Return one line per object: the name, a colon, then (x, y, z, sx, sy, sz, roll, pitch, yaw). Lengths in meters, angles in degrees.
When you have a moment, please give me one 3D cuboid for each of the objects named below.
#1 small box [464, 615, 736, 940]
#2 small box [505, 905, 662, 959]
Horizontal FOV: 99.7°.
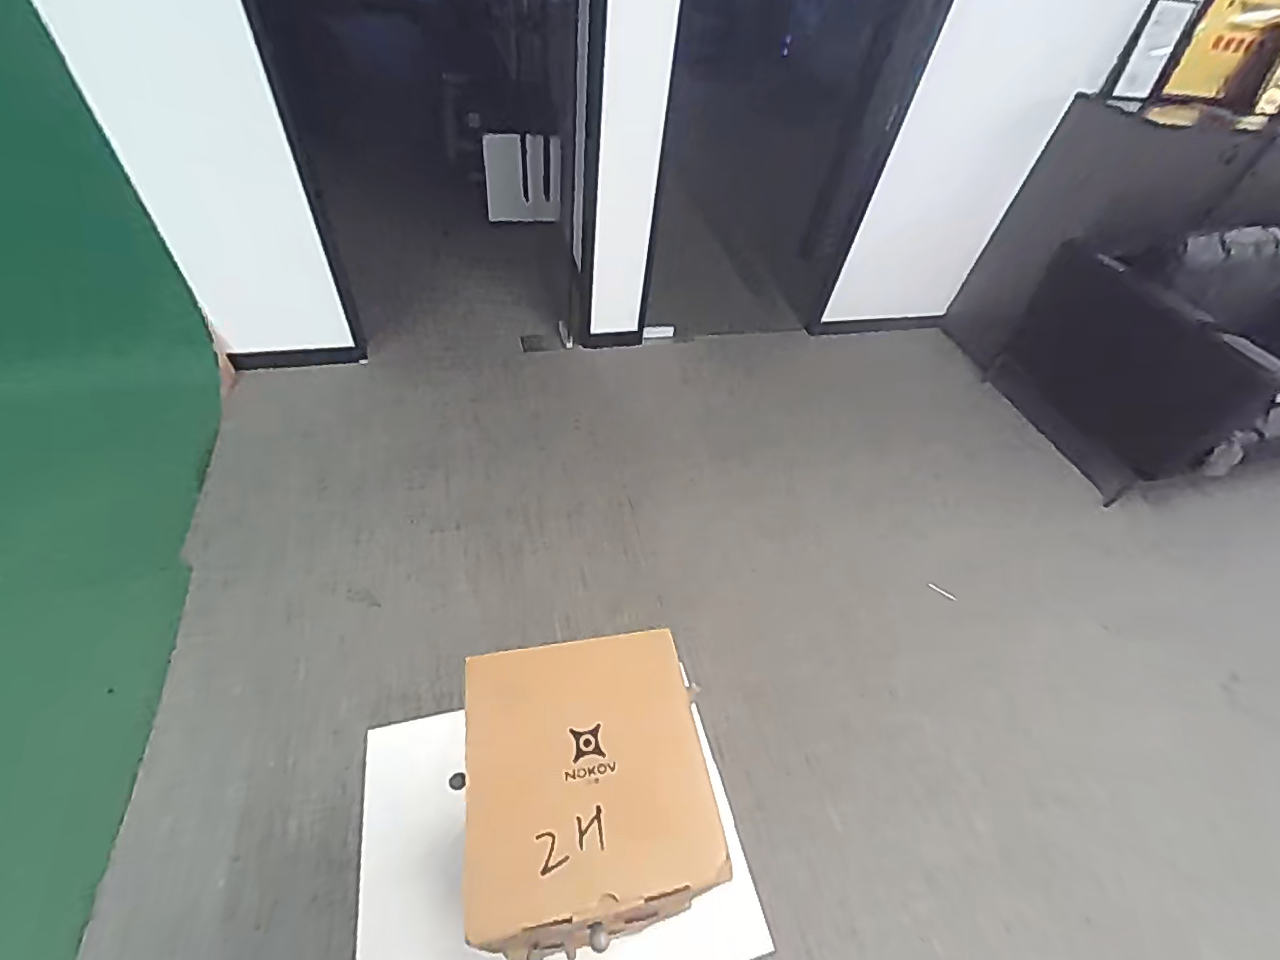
small box: (-0.044, 0.233, 0.431, 0.168, 0.176, 0.179, -4, 48, -12)
small box: (-0.081, 0.459, 0.667, 0.168, 0.176, 0.179, -4, 48, -12)
